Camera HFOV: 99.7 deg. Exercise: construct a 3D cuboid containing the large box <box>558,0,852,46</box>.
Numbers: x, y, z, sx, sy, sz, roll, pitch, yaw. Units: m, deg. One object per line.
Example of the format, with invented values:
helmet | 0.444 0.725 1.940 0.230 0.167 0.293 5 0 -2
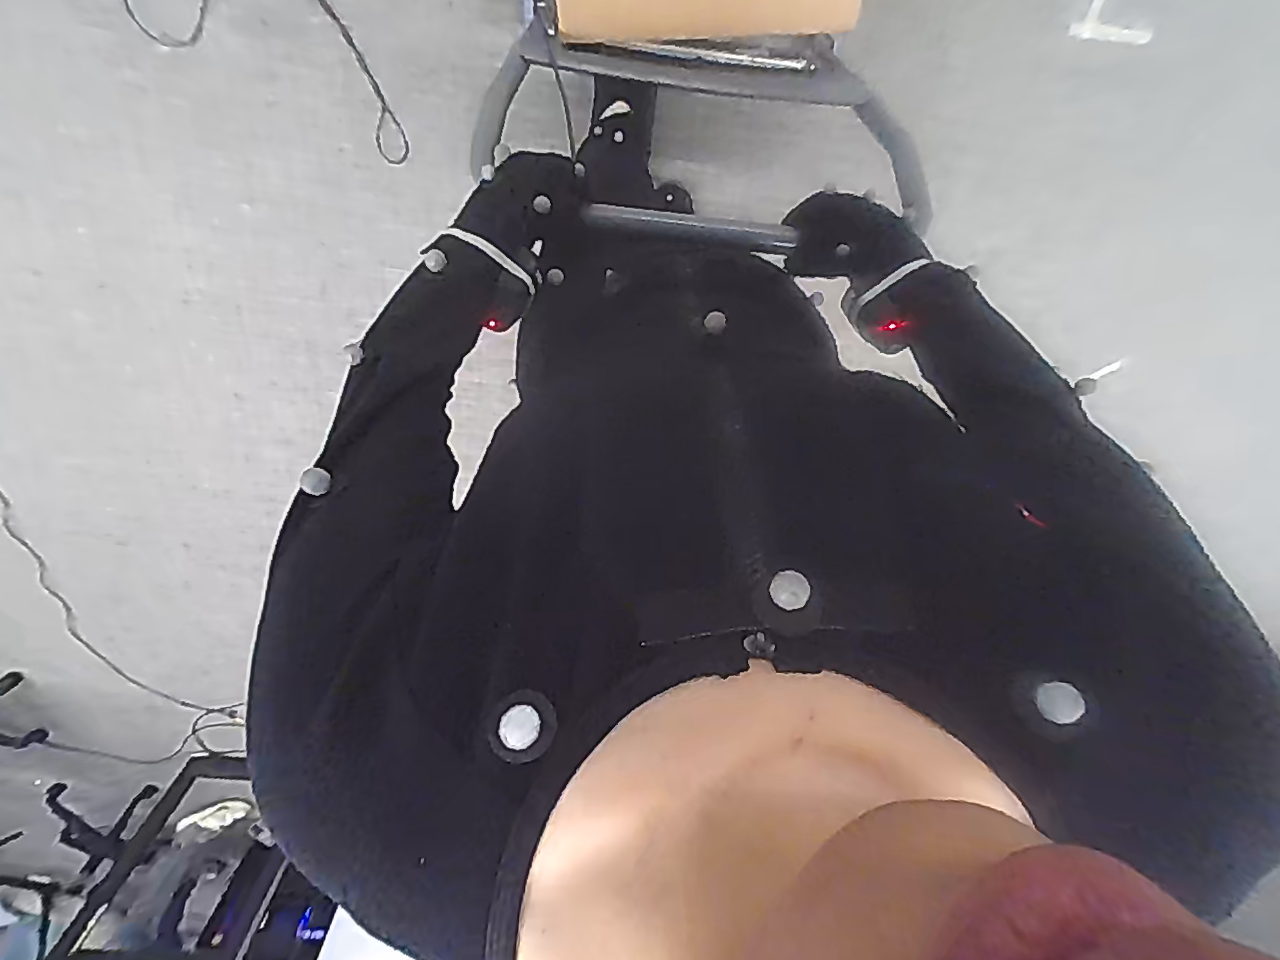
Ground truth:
large box | 0.079 -0.833 0.749 0.408 0.320 0.320 -2 137 1
